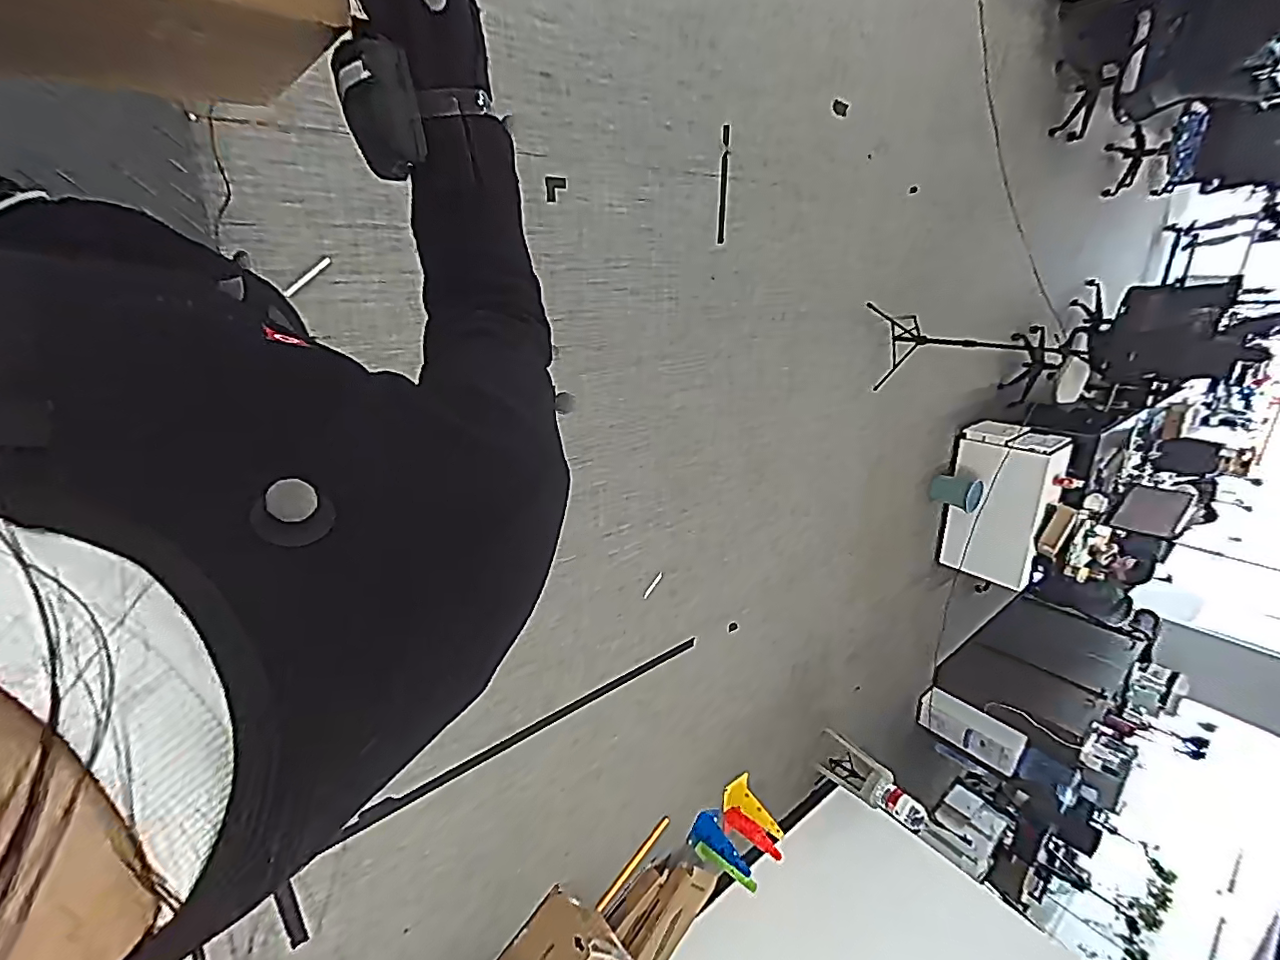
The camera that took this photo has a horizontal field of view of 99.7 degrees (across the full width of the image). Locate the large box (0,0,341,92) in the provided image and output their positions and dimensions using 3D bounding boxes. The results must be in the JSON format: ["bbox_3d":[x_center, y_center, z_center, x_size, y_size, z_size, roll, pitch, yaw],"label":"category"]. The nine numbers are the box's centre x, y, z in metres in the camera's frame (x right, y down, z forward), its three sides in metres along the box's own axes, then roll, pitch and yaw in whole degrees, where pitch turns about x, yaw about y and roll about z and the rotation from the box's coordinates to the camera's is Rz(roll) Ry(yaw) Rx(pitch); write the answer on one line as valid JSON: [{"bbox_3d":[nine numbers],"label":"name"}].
[{"bbox_3d":[-0.415,-0.399,0.232,0.408,0.320,0.320,-19,123,-36],"label":"large box"}]
